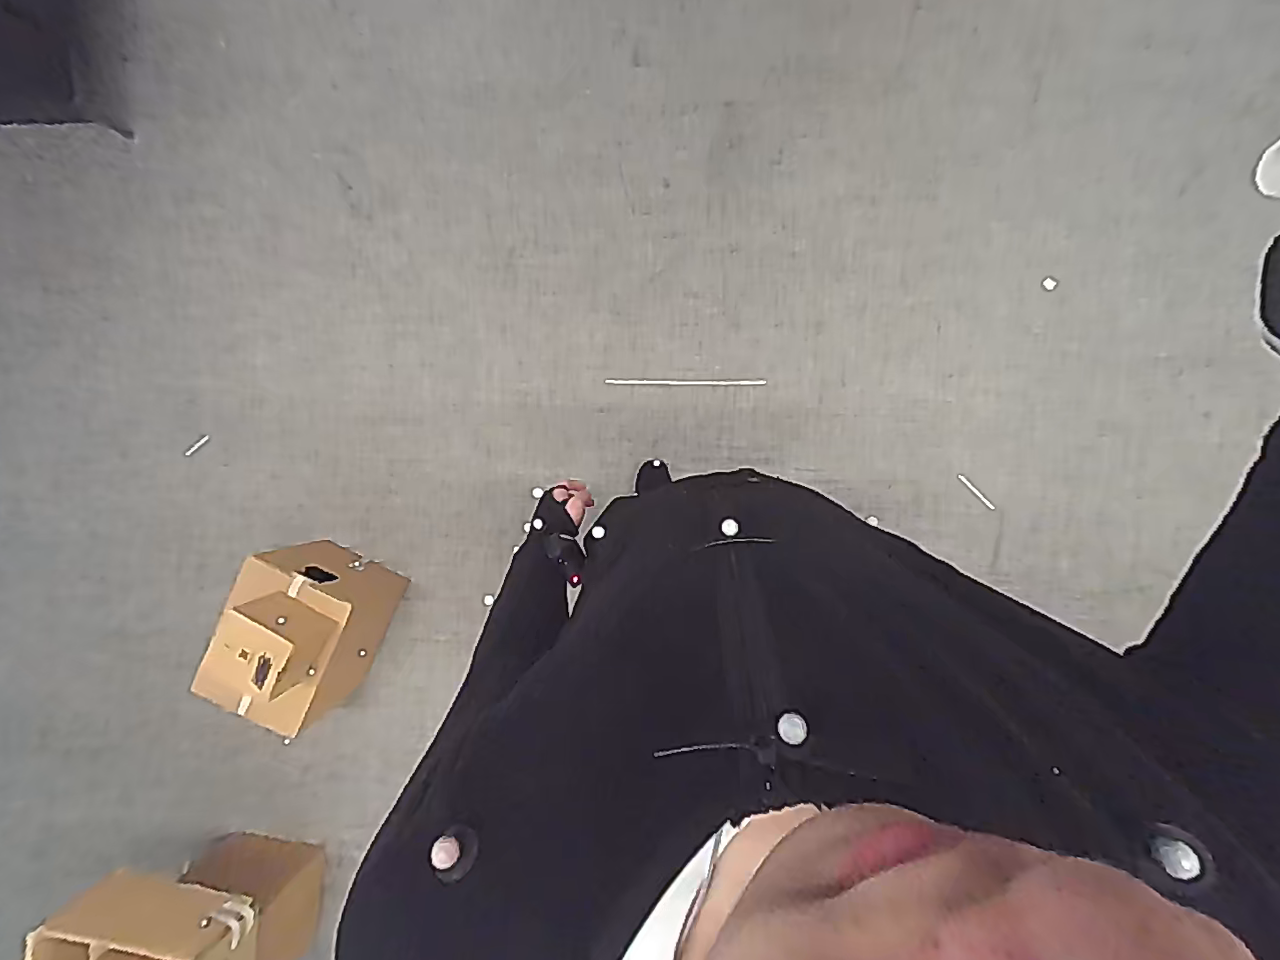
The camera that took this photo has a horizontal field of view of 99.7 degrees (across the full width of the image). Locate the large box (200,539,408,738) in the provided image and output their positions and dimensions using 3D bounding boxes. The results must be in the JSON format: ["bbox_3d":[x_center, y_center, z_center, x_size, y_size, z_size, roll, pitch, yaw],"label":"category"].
[{"bbox_3d":[-0.943,0.430,1.561,0.320,0.320,0.408,25,94,3],"label":"large box"}]

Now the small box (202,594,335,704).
[{"bbox_3d":[-0.887,0.399,1.310,0.179,0.176,0.168,29,93,1],"label":"small box"}]

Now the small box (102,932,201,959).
[{"bbox_3d":[-1.173,1.197,1.246,0.179,0.176,0.168,9,92,1],"label":"small box"}]
